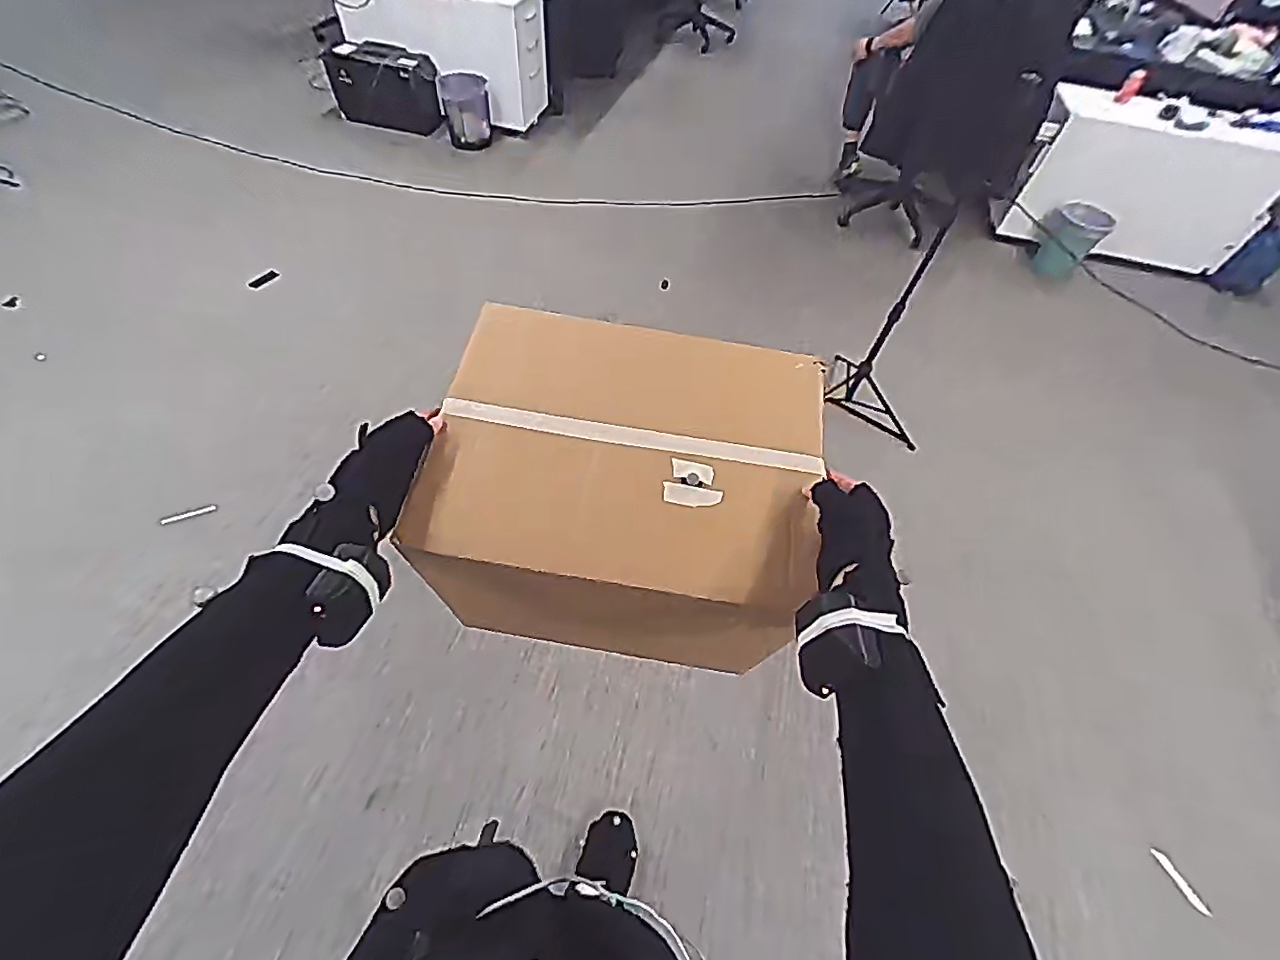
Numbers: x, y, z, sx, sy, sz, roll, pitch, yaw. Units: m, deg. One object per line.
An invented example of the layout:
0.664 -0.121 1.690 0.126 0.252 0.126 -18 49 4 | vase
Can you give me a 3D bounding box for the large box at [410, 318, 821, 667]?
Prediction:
-0.019 0.034 0.712 0.408 0.320 0.320 10 61 0 | large box
